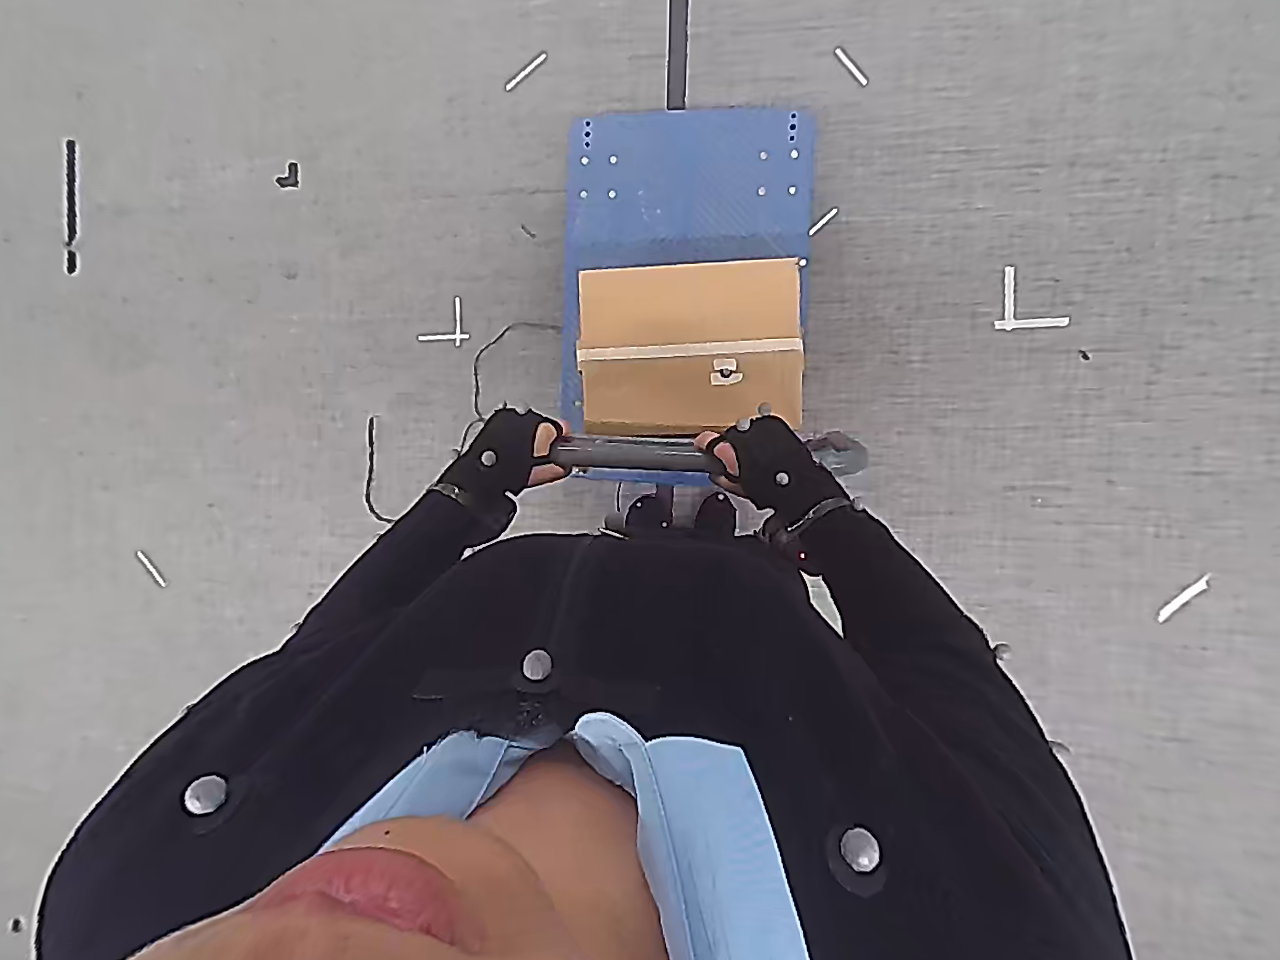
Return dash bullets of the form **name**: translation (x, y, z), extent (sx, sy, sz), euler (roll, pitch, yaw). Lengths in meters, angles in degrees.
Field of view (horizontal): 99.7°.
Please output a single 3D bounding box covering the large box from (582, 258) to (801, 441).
- **large box**: translation (0.105, -0.252, 1.157), extent (0.408, 0.320, 0.320), euler (-2, 93, 5)
